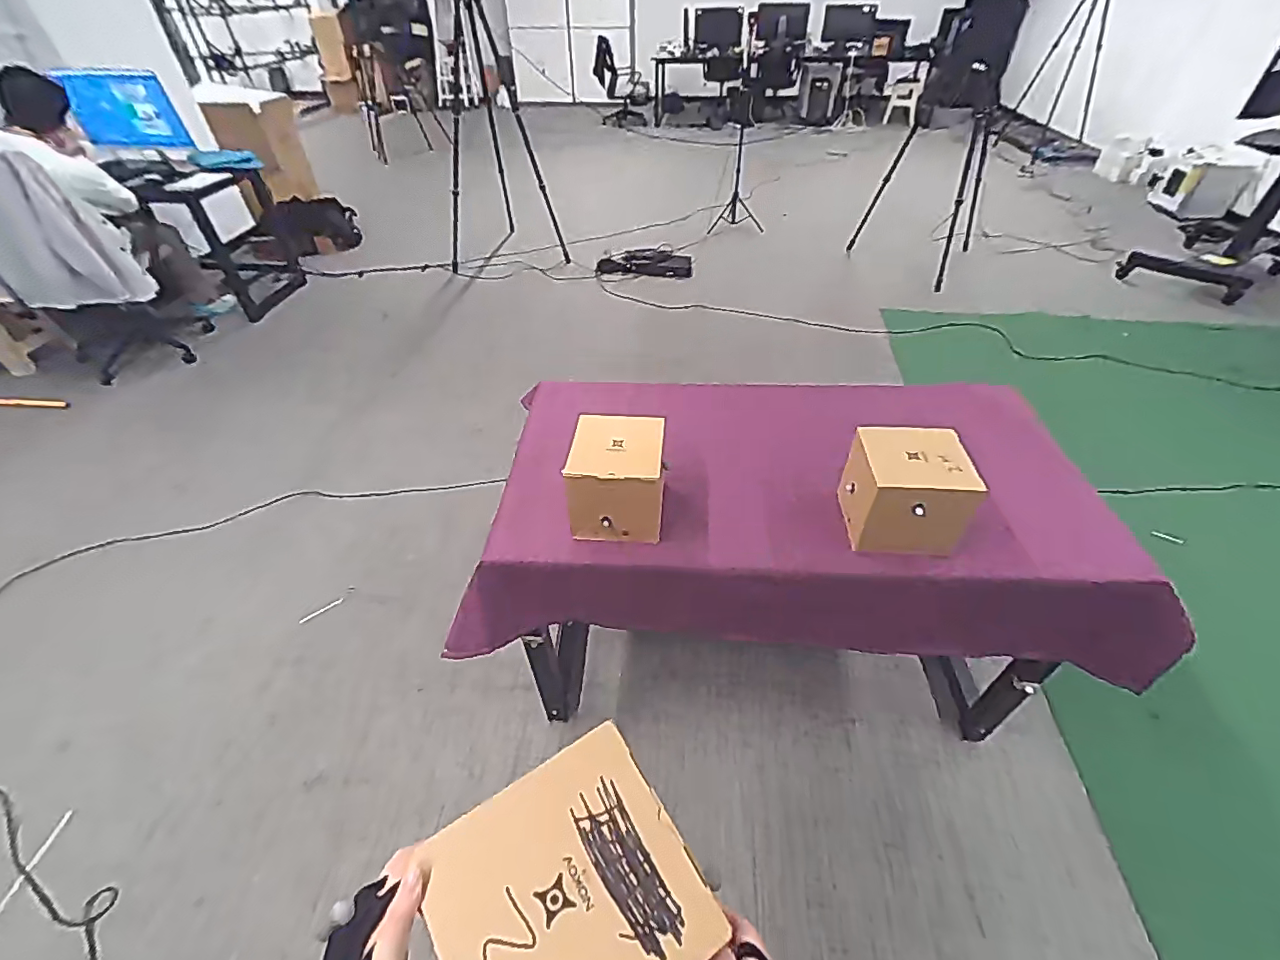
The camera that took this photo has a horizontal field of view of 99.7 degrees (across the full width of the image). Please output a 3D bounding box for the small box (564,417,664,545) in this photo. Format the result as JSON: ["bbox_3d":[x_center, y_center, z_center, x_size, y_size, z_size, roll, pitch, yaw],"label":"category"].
[{"bbox_3d":[-0.043,0.000,1.030,0.168,0.176,0.179,2,44,4],"label":"small box"}]

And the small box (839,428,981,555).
[{"bbox_3d":[0.477,0.021,0.992,0.179,0.176,0.168,2,44,4],"label":"small box"}]
